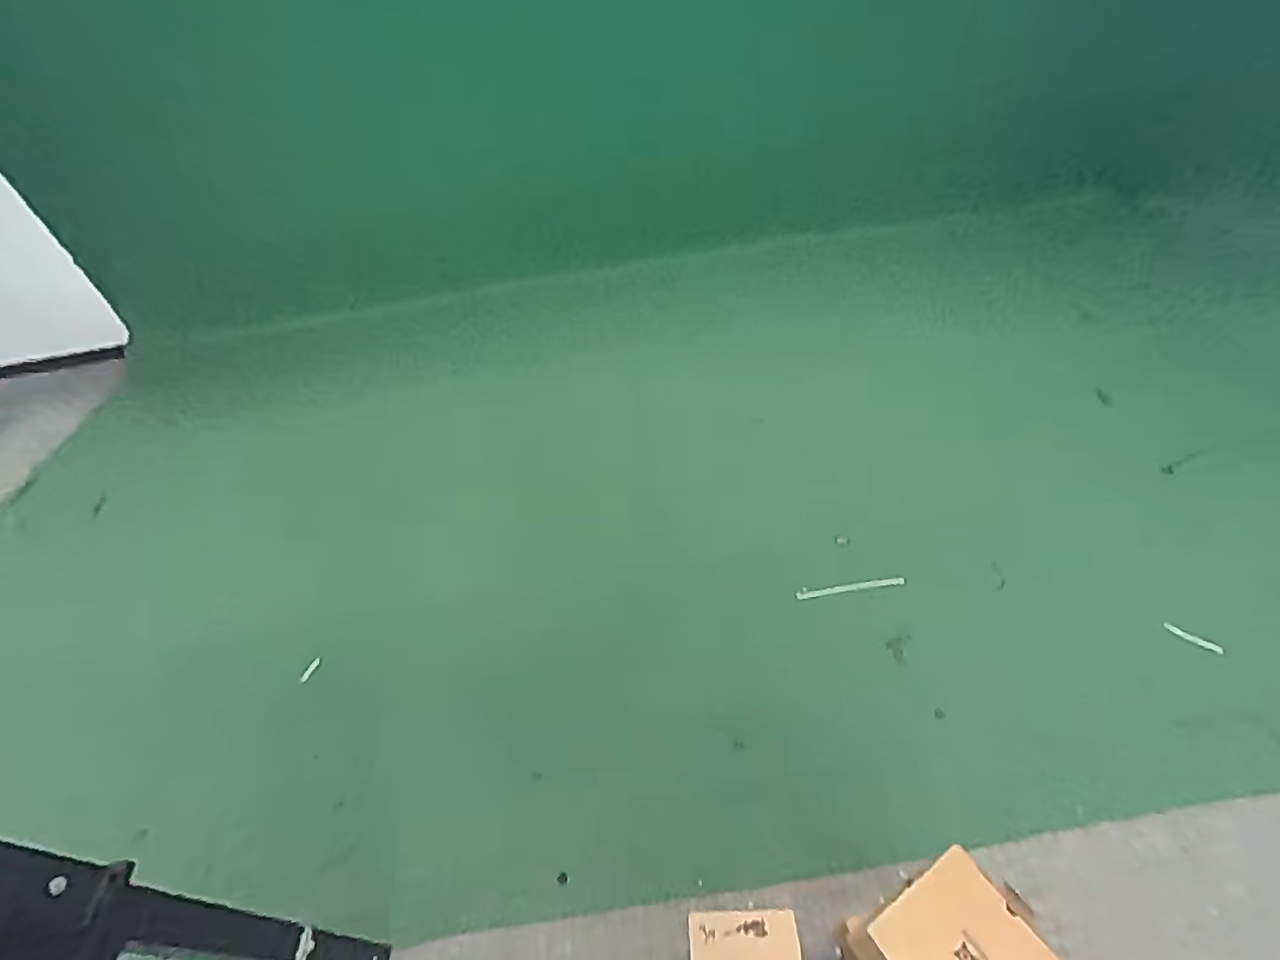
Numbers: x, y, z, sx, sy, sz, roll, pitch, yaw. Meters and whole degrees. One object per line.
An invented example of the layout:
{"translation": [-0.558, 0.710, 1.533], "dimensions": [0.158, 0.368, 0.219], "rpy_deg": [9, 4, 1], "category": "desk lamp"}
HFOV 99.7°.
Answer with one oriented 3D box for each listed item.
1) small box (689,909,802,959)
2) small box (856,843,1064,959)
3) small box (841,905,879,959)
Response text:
{"translation": [0.167, 0.779, 0.828], "dimensions": [0.168, 0.176, 0.179], "rpy_deg": [-6, 45, 5], "category": "small box"}
{"translation": [0.408, 0.627, 0.709], "dimensions": [0.179, 0.176, 0.168], "rpy_deg": [-27, 48, -18], "category": "small box"}
{"translation": [0.469, 0.847, 0.943], "dimensions": [0.179, 0.176, 0.168], "rpy_deg": [-14, 45, -6], "category": "small box"}
